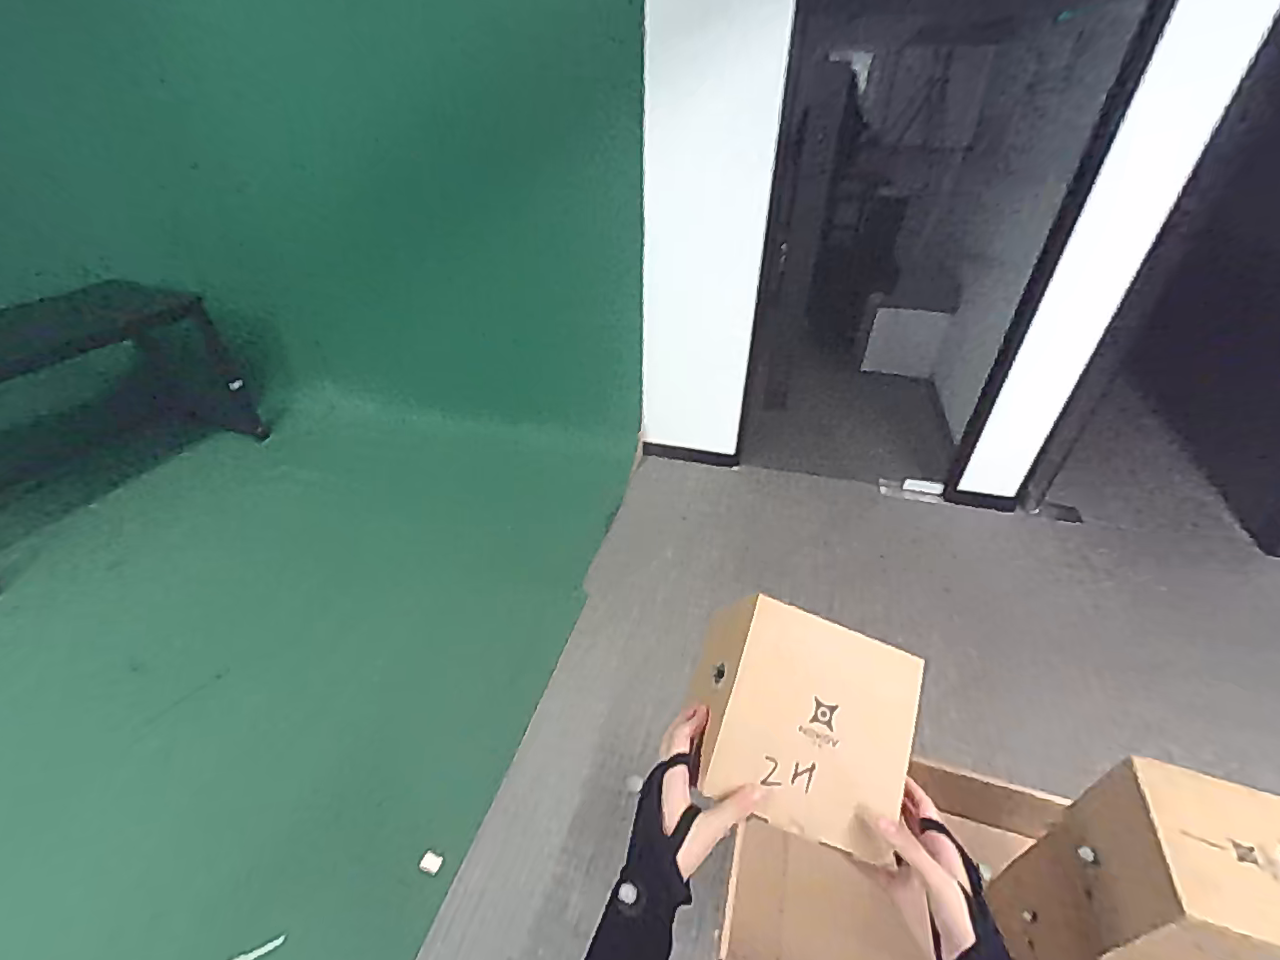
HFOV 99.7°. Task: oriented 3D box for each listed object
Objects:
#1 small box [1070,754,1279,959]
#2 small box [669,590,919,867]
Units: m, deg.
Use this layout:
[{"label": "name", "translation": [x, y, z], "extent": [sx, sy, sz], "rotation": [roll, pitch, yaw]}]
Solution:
[{"label": "small box", "translation": [0.620, 0.442, 0.587], "extent": [0.179, 0.176, 0.168], "rotation": [13, 39, 17]}, {"label": "small box", "translation": [0.139, 0.231, 0.536], "extent": [0.168, 0.176, 0.179], "rotation": [22, 69, 1]}]
